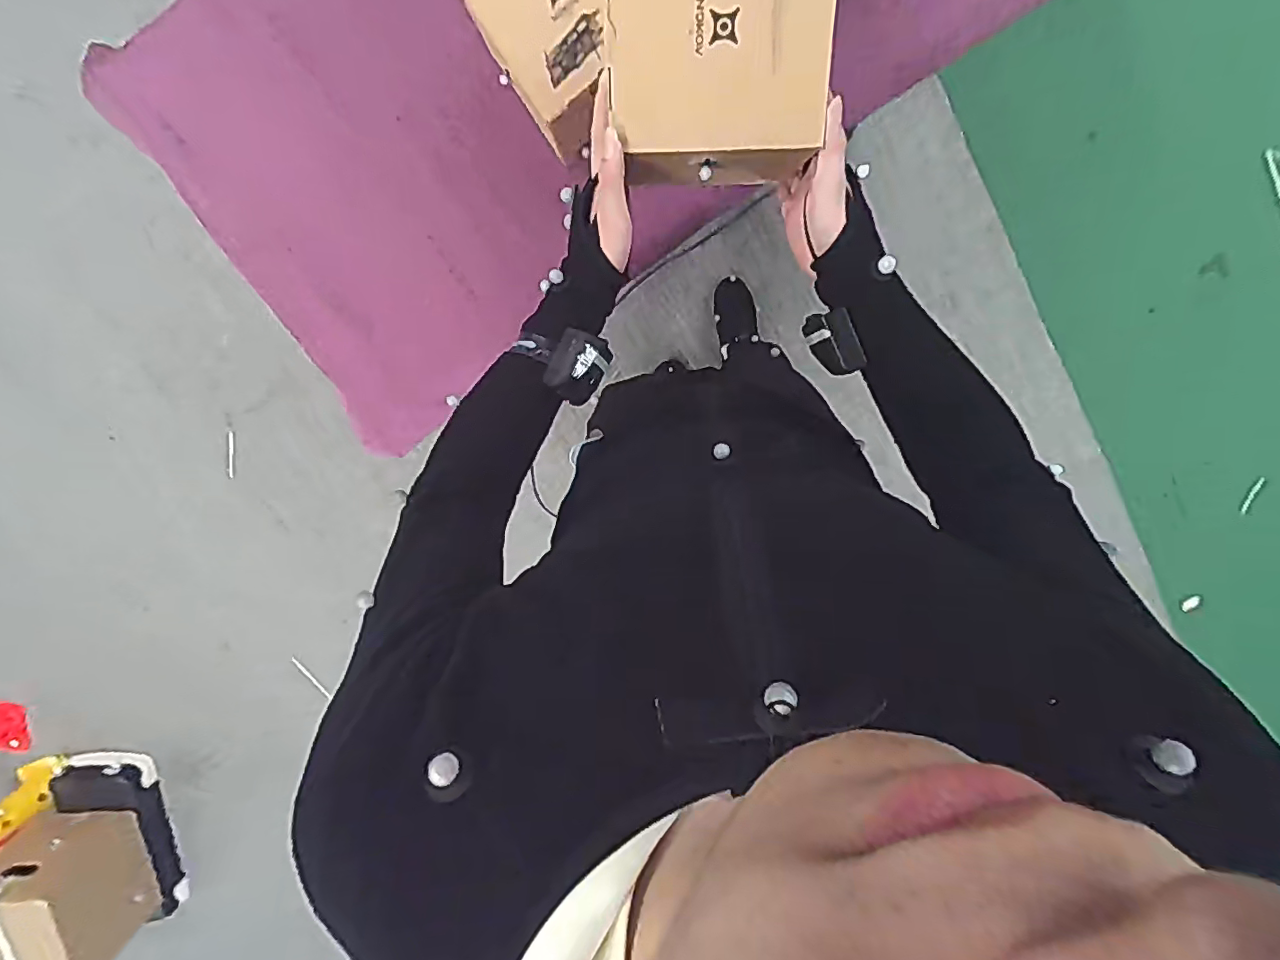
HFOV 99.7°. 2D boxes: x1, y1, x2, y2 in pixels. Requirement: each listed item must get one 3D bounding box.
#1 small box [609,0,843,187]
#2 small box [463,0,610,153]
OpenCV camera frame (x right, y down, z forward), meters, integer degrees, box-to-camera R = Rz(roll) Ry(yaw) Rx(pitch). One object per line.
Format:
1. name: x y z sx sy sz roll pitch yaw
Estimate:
1. small box: 0.068 -0.367 0.483 0.179 0.176 0.168 1 110 2
2. small box: -0.088 -0.536 0.660 0.168 0.176 0.179 -34 101 8
